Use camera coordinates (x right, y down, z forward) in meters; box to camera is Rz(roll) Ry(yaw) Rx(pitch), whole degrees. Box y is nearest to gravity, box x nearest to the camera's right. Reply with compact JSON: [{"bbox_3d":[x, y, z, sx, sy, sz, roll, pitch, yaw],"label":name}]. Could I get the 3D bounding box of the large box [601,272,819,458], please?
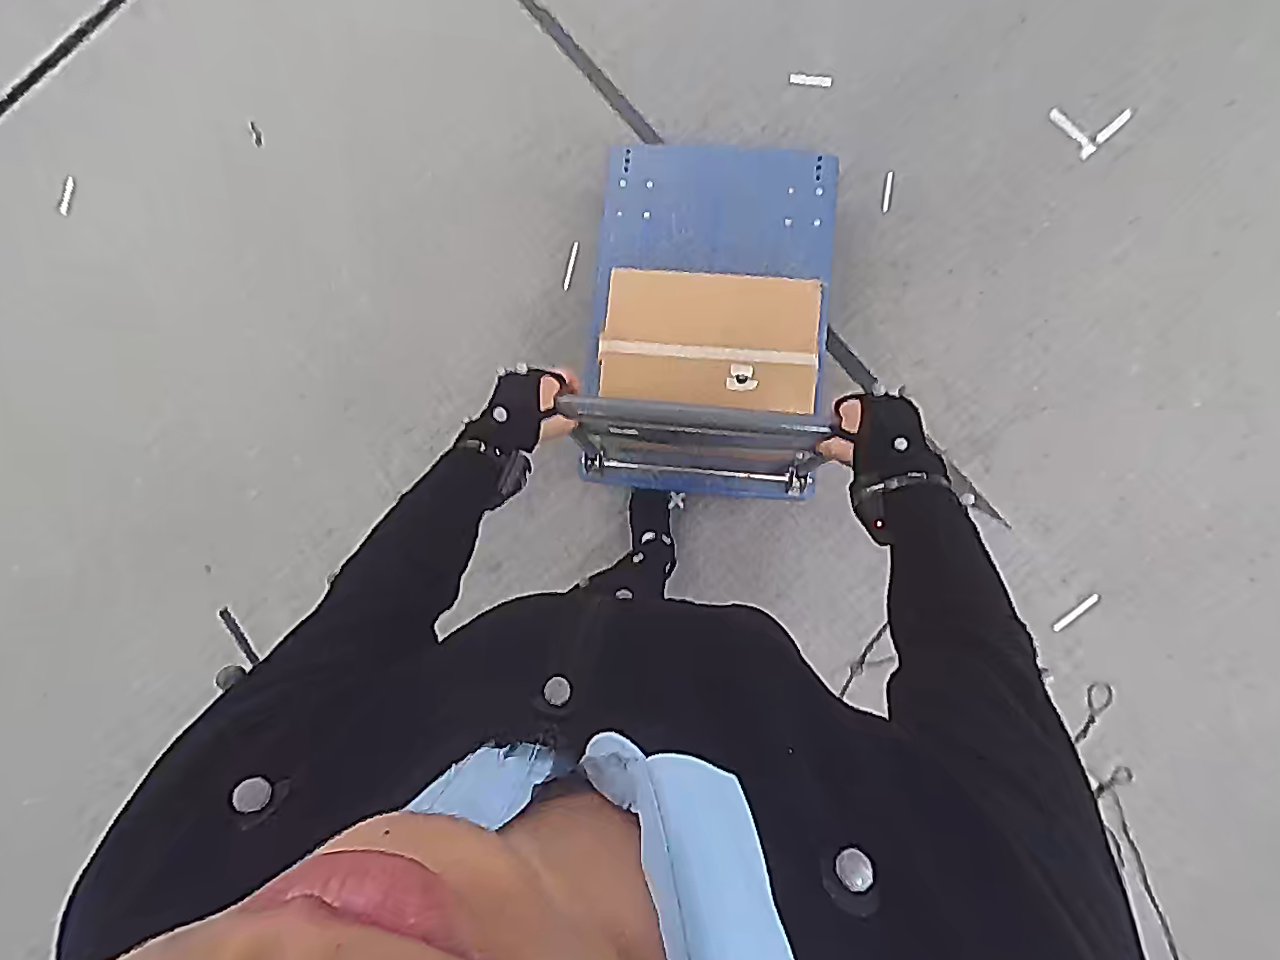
[{"bbox_3d":[0.140,-0.229,1.181,0.408,0.320,0.320,5,86,4],"label":"large box"}]
